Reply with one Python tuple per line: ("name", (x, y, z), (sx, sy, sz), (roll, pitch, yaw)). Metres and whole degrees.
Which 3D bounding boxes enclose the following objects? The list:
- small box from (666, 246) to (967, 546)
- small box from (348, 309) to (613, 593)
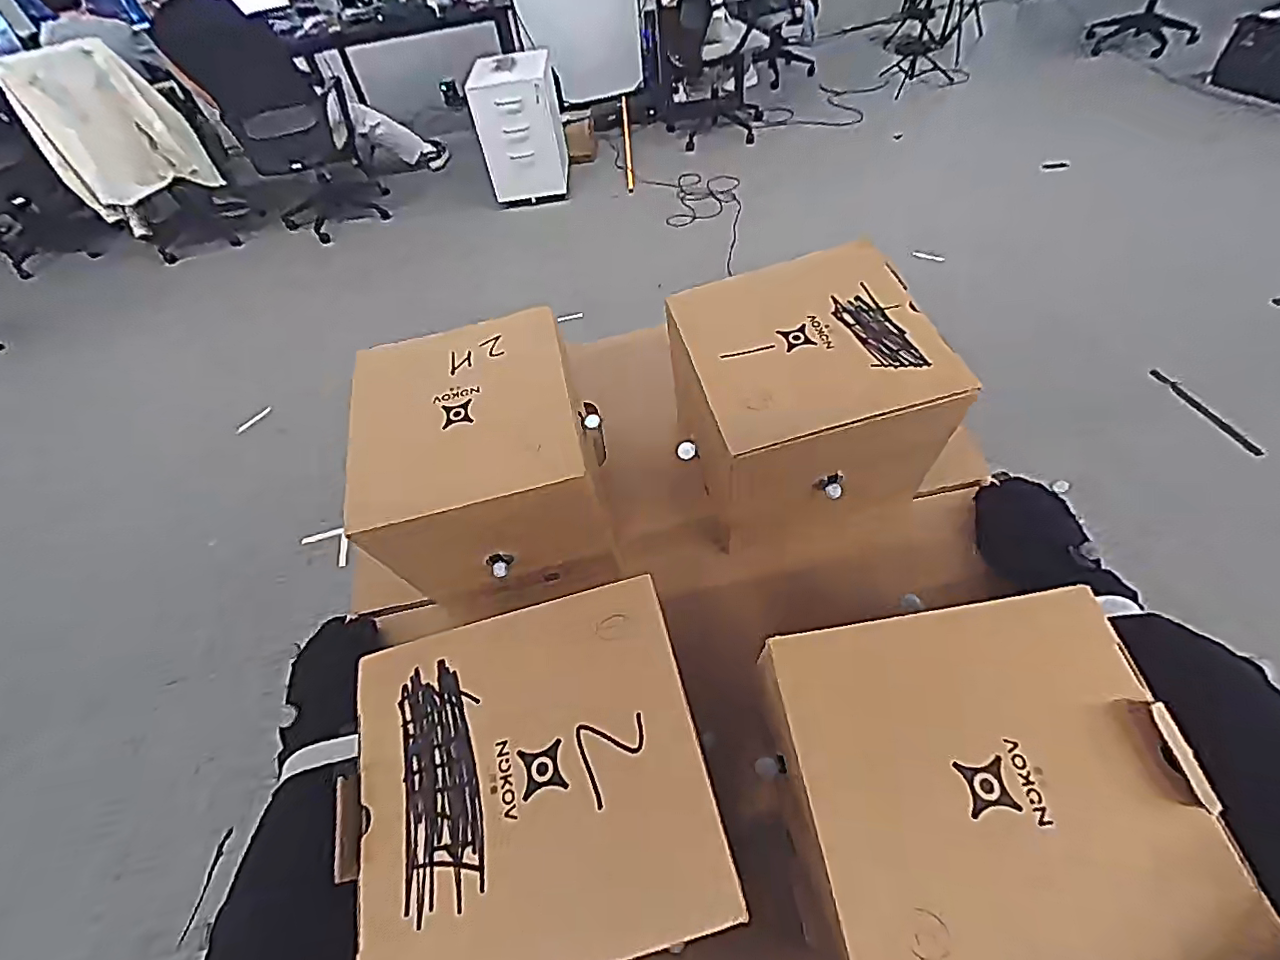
("small box", (0.129, -0.062, 0.469), (0.179, 0.176, 0.168), (-15, 59, 0))
("small box", (-0.126, -0.013, 0.476), (0.168, 0.176, 0.179), (-13, 59, -1))
